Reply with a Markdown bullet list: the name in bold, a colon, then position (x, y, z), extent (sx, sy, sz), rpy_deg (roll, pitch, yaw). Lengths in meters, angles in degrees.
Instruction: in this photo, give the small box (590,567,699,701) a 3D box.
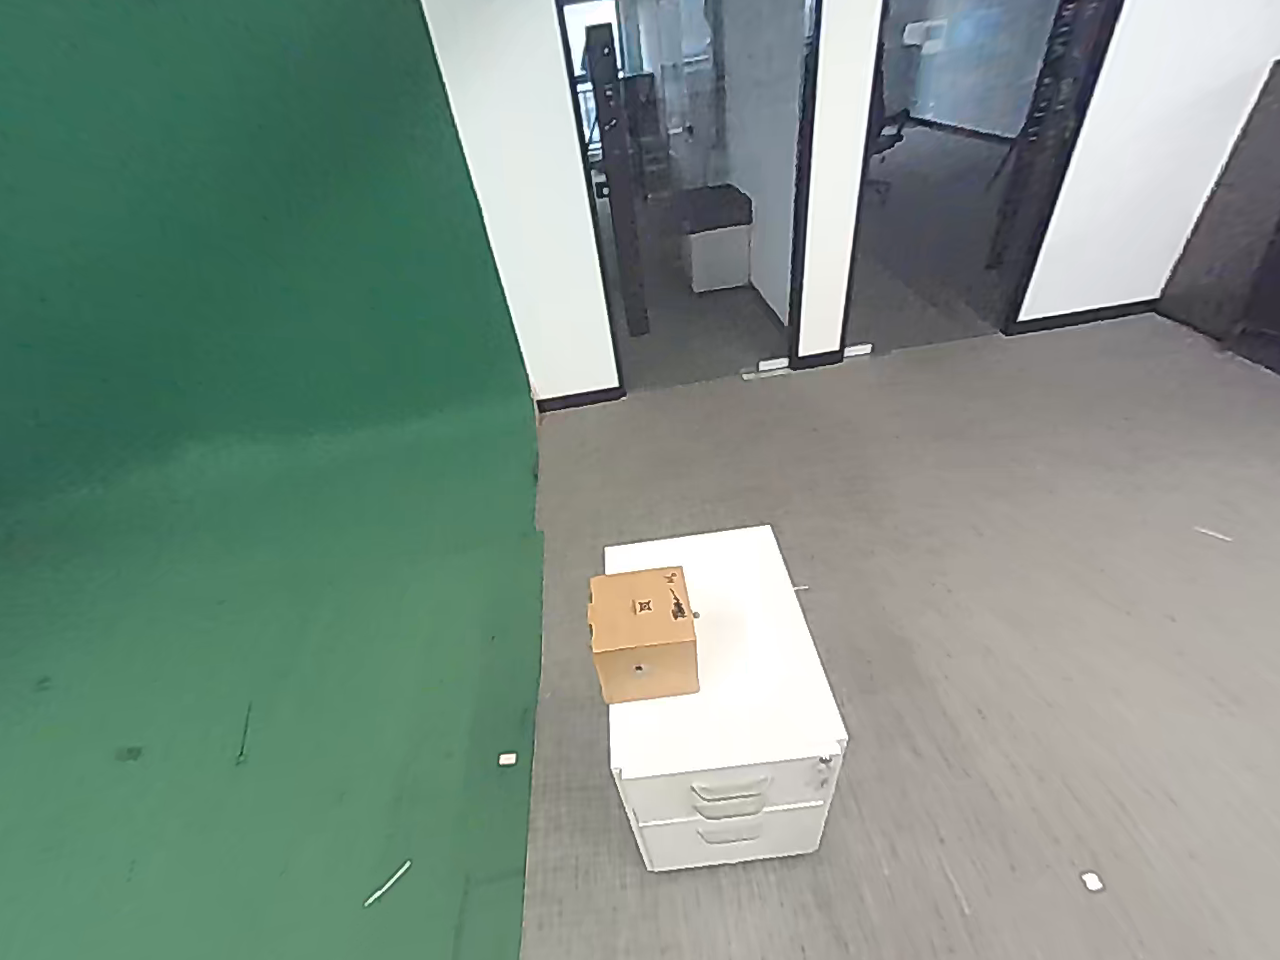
- **small box**: position (0.008, 0.285, 0.993), extent (0.179, 0.176, 0.168), rpy_deg (-7, 39, 0)
